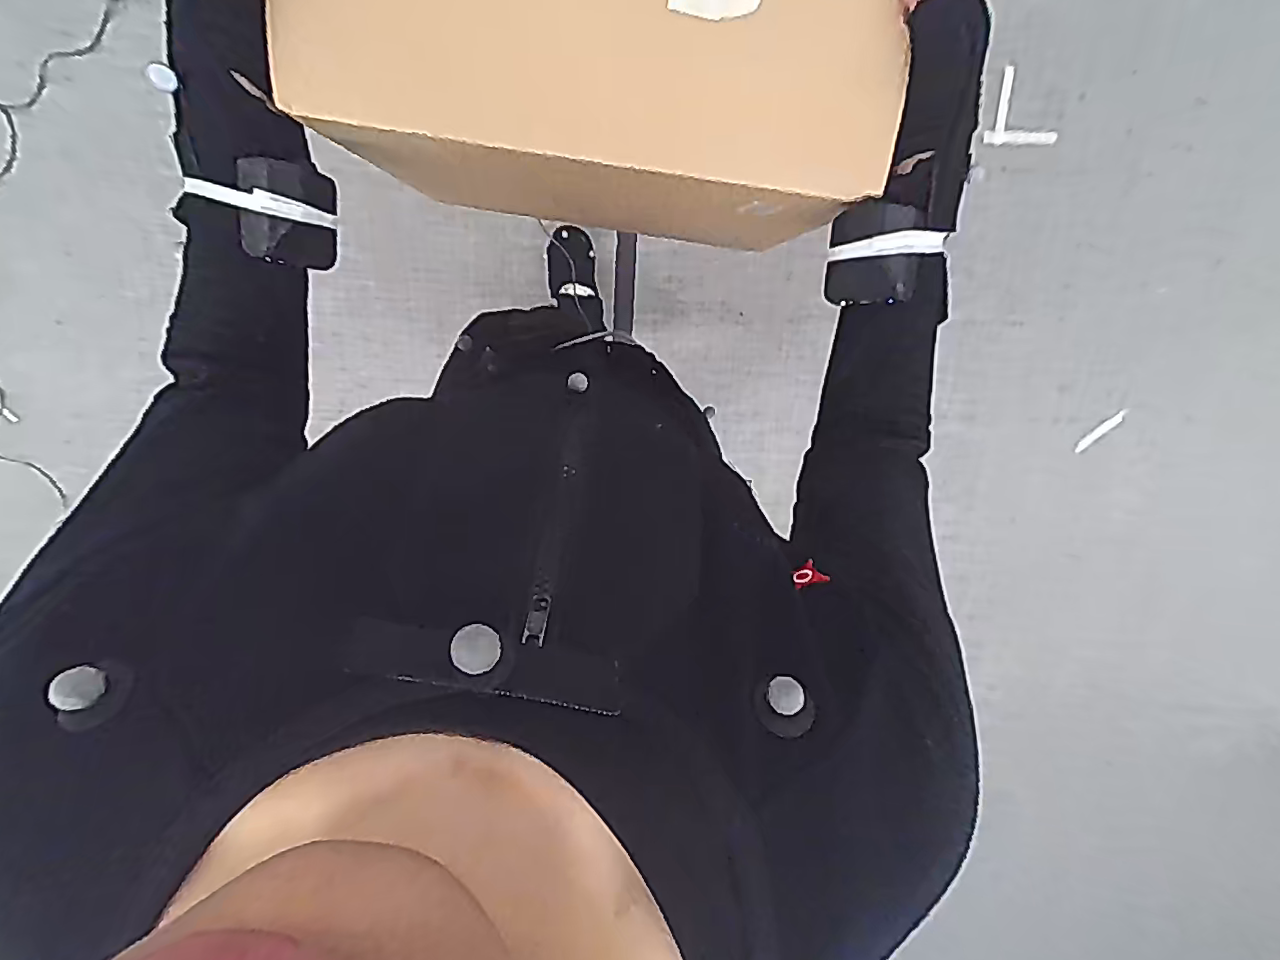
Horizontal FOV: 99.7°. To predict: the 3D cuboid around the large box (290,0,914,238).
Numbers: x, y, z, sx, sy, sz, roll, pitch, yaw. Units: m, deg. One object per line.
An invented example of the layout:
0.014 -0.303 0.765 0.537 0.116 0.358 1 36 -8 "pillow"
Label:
-0.020 -0.416 0.468 0.408 0.320 0.320 6 108 -5 "large box"
